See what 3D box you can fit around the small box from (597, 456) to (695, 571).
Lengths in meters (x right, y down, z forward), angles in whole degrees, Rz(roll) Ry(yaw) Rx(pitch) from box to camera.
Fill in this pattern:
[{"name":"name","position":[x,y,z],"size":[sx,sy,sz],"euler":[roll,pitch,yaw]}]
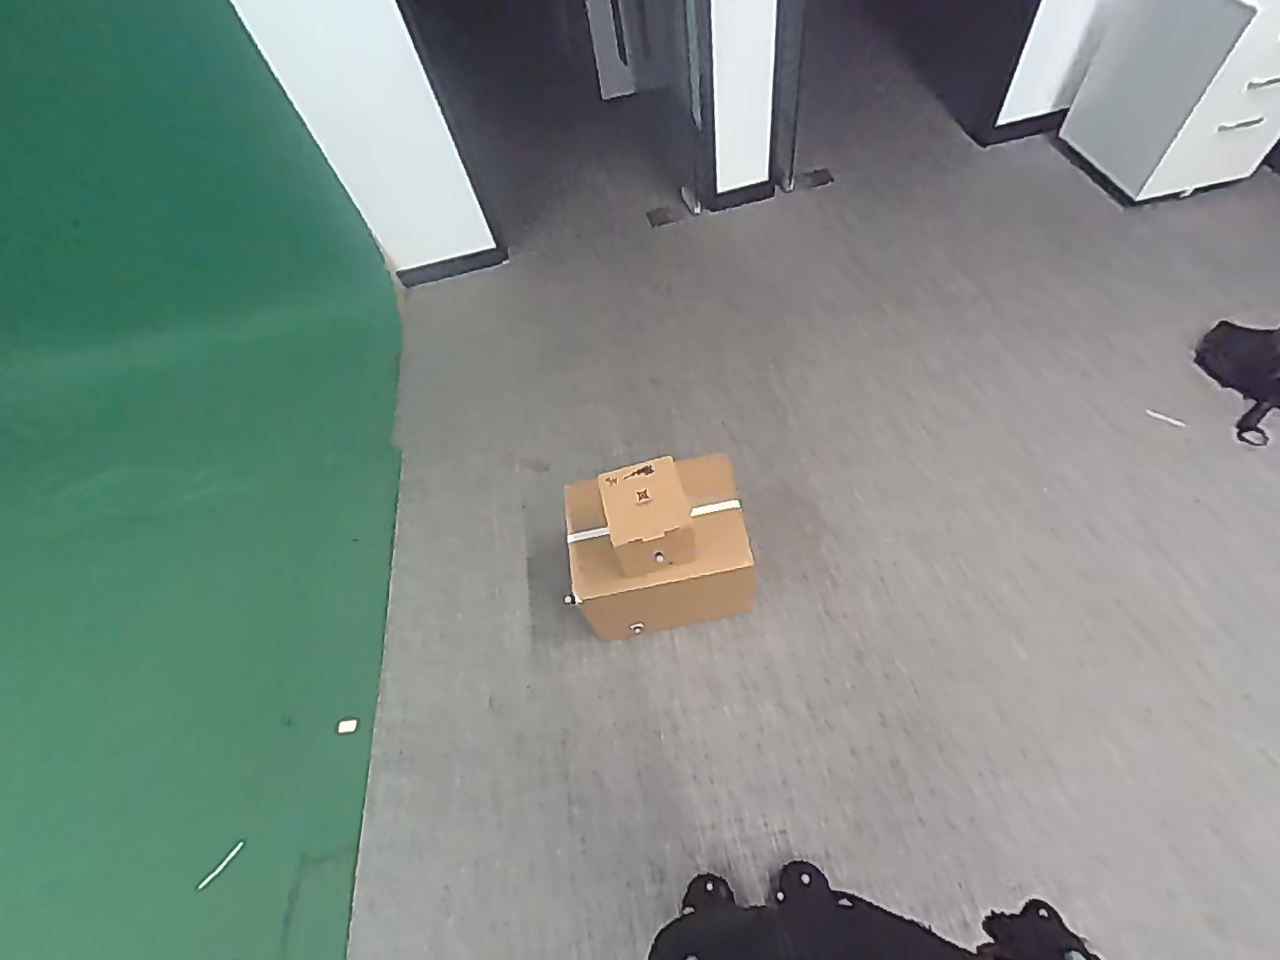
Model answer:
[{"name":"small box","position":[0.017,0.081,1.163],"size":[0.168,0.176,0.179],"euler":[-15,58,1]}]
